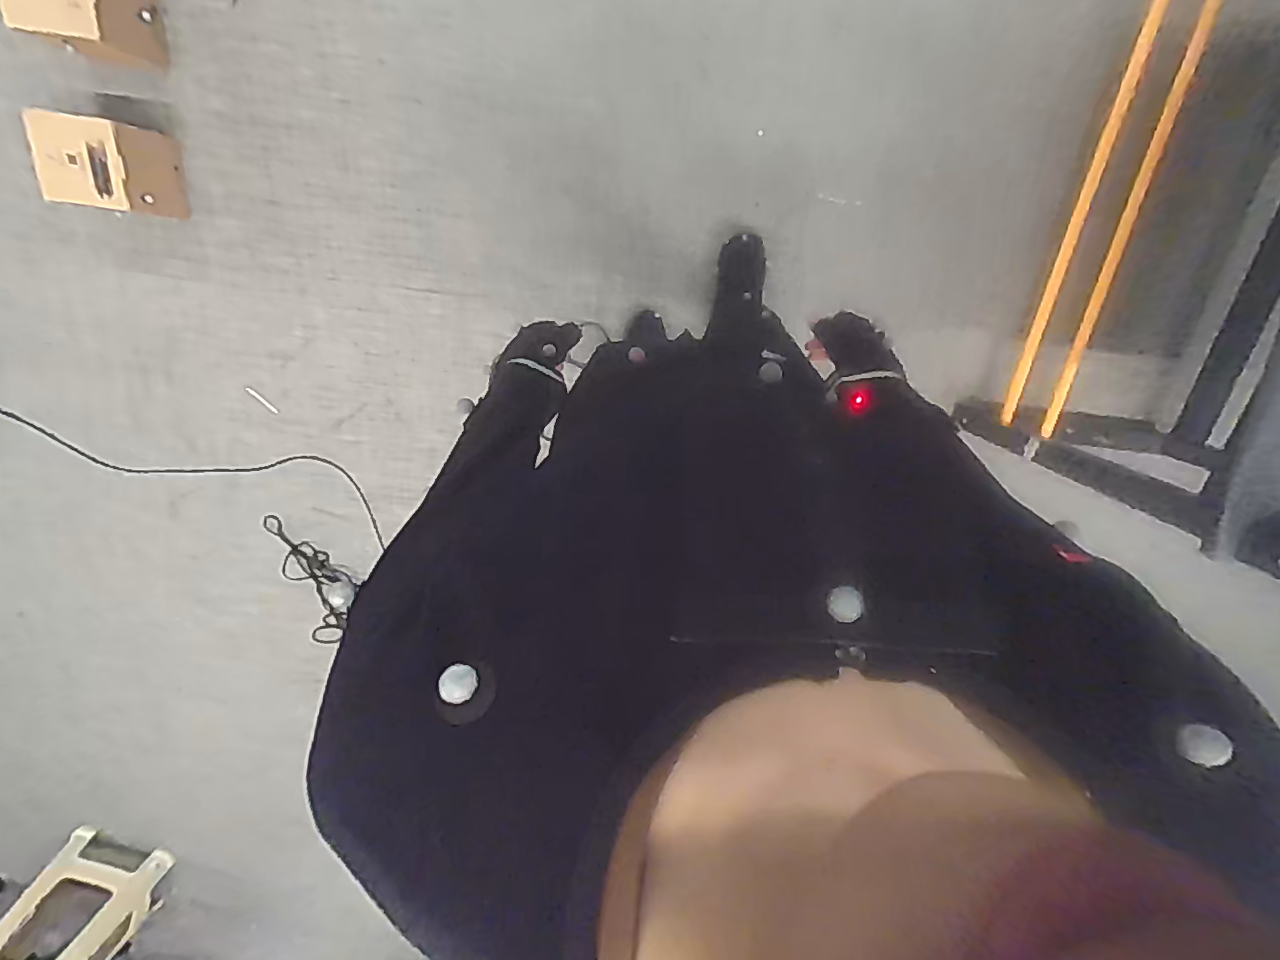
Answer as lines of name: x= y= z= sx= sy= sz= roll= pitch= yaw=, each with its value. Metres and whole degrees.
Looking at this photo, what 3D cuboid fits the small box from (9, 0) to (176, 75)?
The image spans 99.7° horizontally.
small box: x=-1.088 y=-0.941 z=1.077 sx=0.179 sy=0.176 sz=0.168 roll=7 pitch=110 yaw=-3
